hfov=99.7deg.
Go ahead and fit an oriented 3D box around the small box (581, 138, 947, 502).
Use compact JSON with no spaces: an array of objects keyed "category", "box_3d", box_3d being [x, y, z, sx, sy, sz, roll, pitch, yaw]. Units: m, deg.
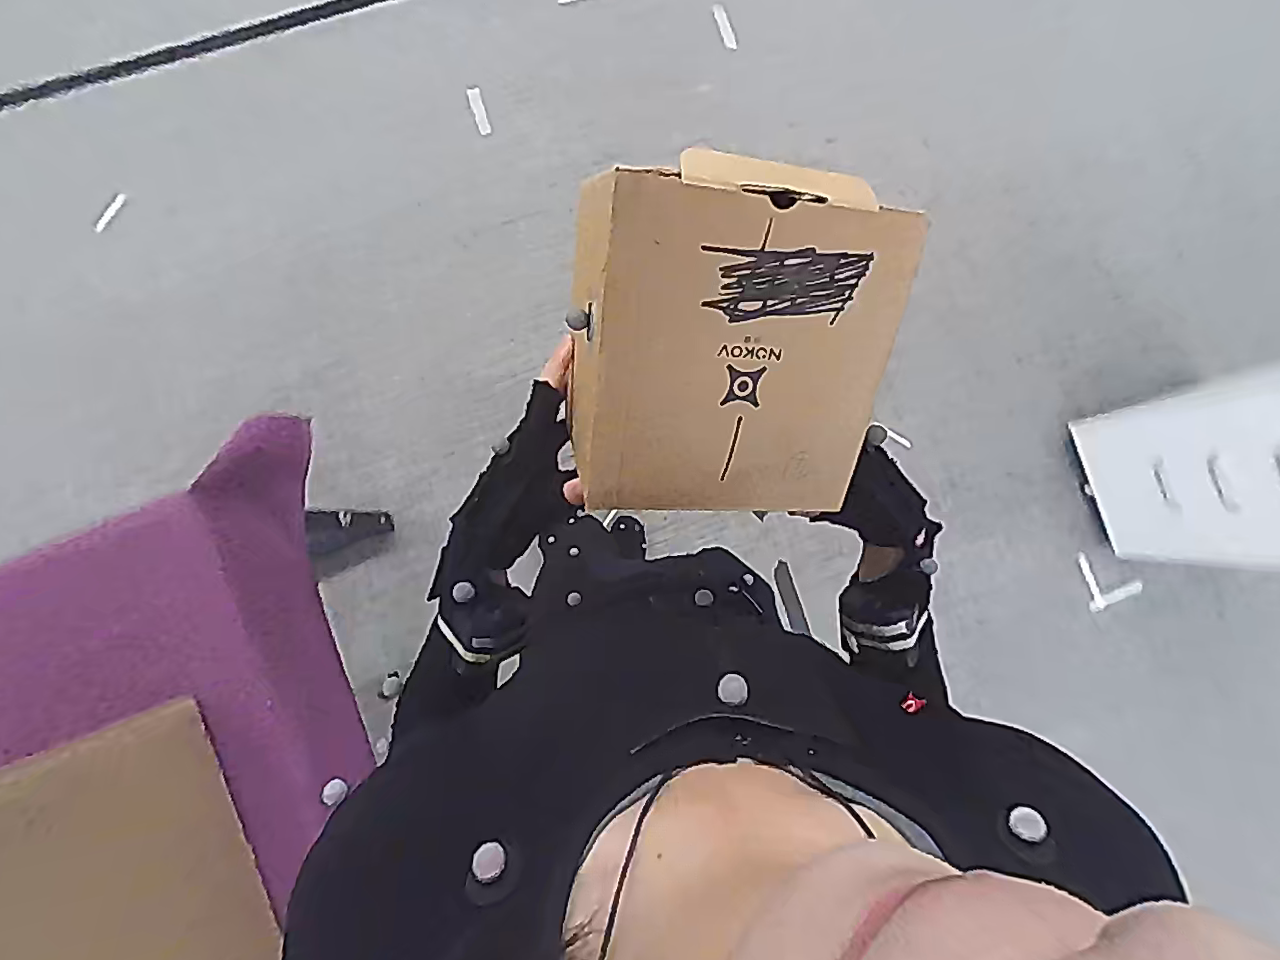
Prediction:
[{"category":"small box","box_3d":[0.054,-0.102,0.363,0.168,0.176,0.179,3,114,-13]}]
